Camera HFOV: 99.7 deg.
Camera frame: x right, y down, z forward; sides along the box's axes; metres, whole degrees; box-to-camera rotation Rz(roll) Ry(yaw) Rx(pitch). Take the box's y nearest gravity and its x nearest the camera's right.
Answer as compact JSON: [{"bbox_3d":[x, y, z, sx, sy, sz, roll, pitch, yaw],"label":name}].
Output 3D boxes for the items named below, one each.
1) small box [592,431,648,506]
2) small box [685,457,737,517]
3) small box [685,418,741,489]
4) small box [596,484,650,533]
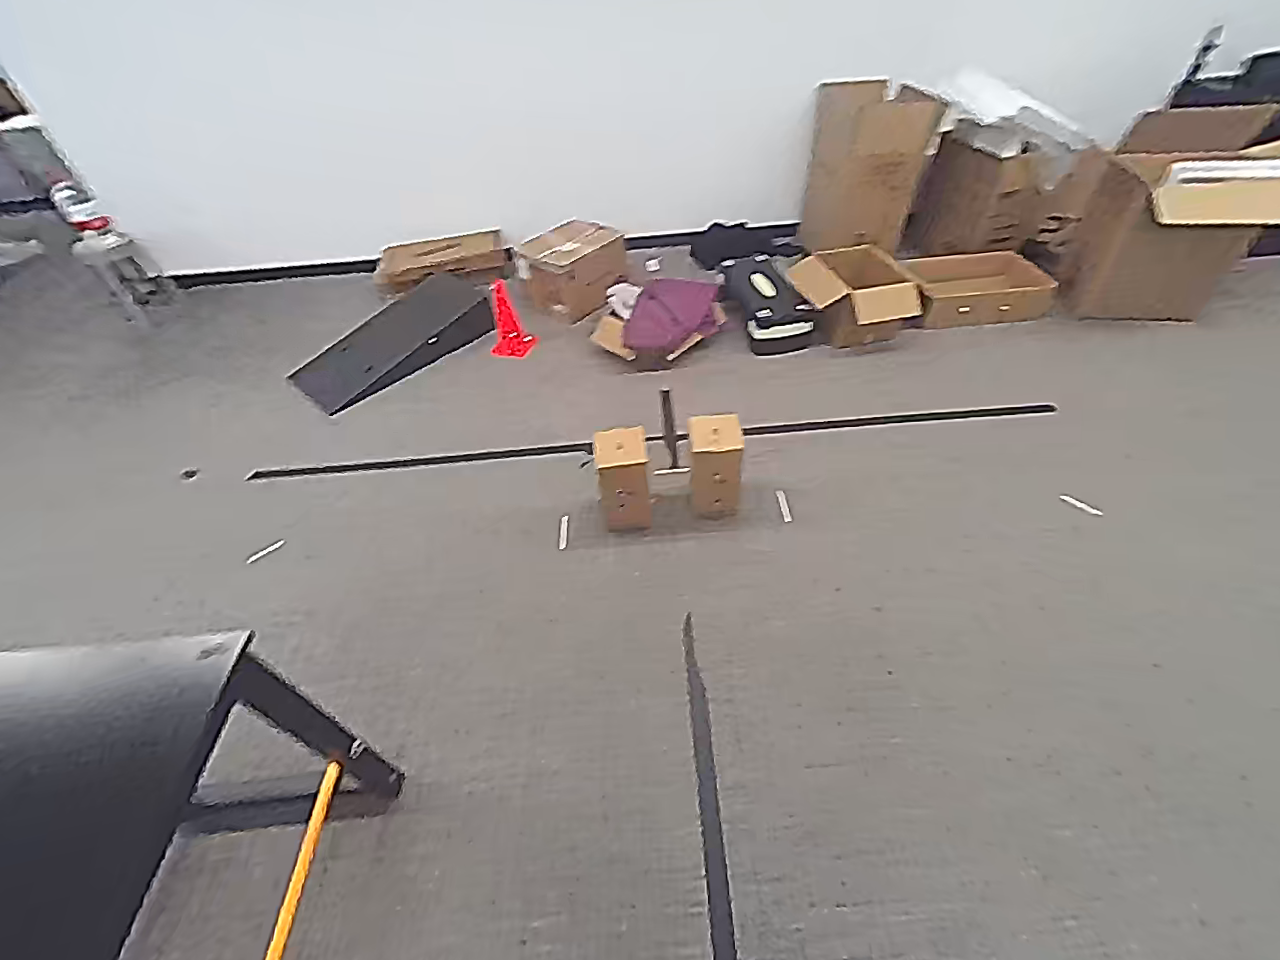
[{"bbox_3d":[-0.067,-0.038,1.812,0.168,0.176,0.179,-9,47,-1],"label":"small box"},{"bbox_3d":[0.255,0.022,1.954,0.168,0.176,0.179,-5,46,0],"label":"small box"},{"bbox_3d":[0.242,-0.089,1.831,0.168,0.176,0.179,-4,46,2],"label":"small box"},{"bbox_3d":[-0.060,0.073,1.930,0.179,0.176,0.168,-6,46,-1],"label":"small box"}]
